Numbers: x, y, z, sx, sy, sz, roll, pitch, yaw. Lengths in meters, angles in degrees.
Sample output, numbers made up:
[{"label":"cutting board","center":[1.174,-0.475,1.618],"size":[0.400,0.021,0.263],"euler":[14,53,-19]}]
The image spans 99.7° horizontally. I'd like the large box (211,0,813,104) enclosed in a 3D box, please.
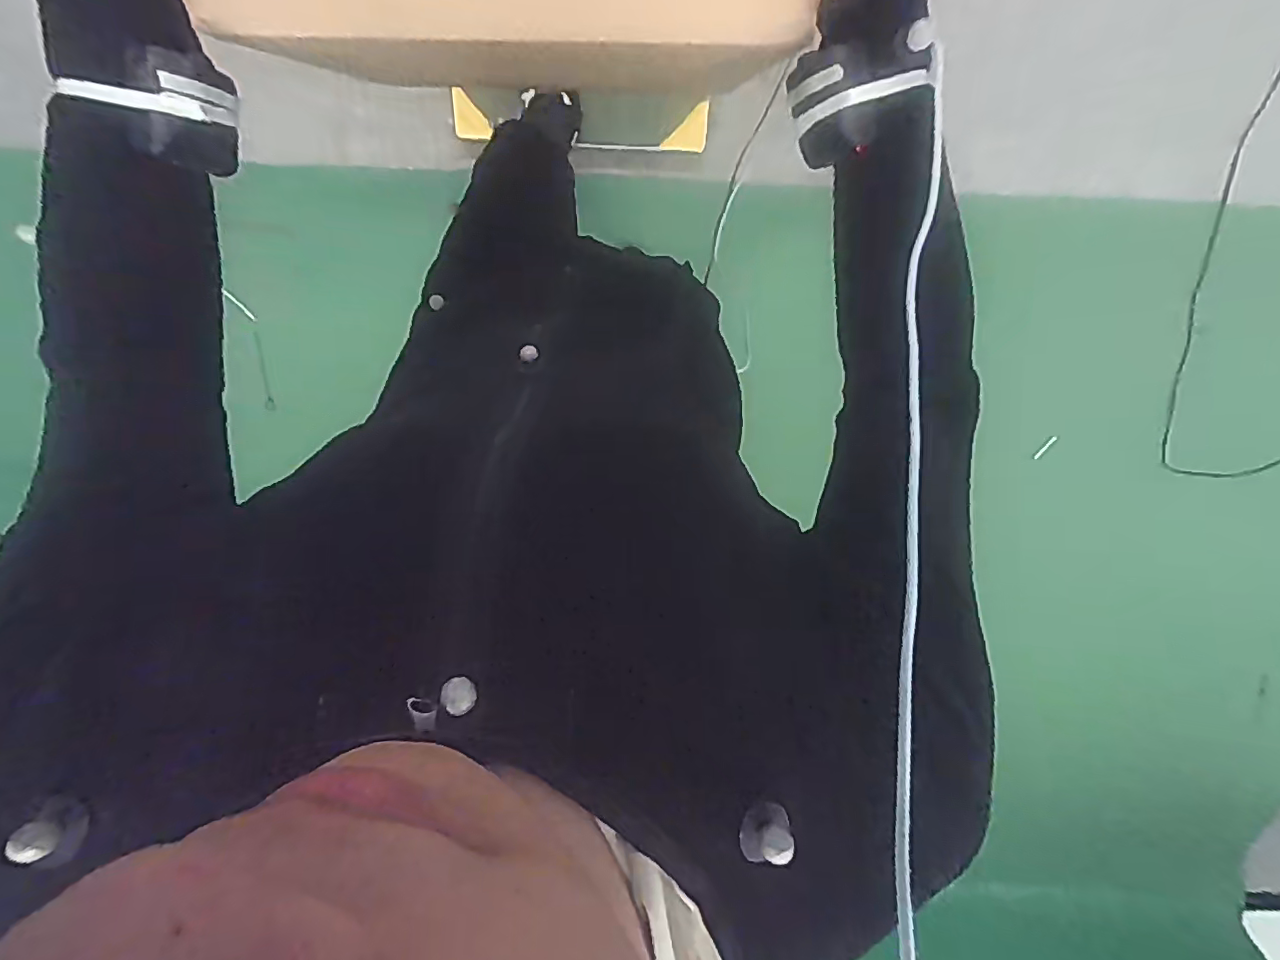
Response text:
[{"label":"large box","center":[-0.090,-0.499,0.424],"size":[0.408,0.320,0.320],"euler":[-1,121,-2]}]
